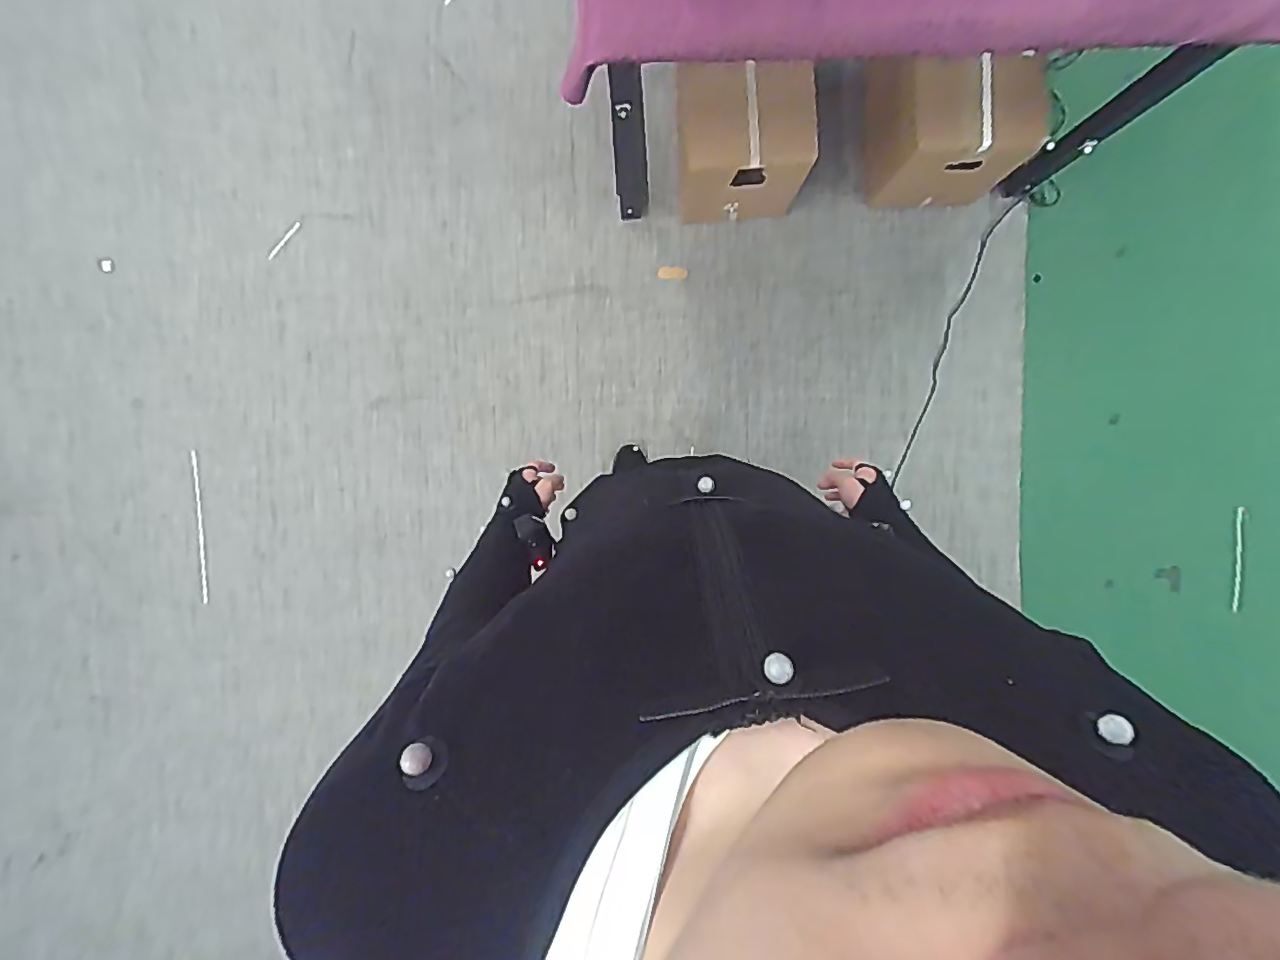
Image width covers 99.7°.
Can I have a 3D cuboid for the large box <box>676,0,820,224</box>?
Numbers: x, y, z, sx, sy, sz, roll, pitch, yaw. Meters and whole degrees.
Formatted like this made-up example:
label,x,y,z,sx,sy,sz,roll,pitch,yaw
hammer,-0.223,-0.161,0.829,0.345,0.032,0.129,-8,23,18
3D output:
label,x,y,z,sx,sy,sz,roll,pitch,yaw
large box,0.268,-0.960,1.443,0.320,0.320,0.408,-4,91,0
